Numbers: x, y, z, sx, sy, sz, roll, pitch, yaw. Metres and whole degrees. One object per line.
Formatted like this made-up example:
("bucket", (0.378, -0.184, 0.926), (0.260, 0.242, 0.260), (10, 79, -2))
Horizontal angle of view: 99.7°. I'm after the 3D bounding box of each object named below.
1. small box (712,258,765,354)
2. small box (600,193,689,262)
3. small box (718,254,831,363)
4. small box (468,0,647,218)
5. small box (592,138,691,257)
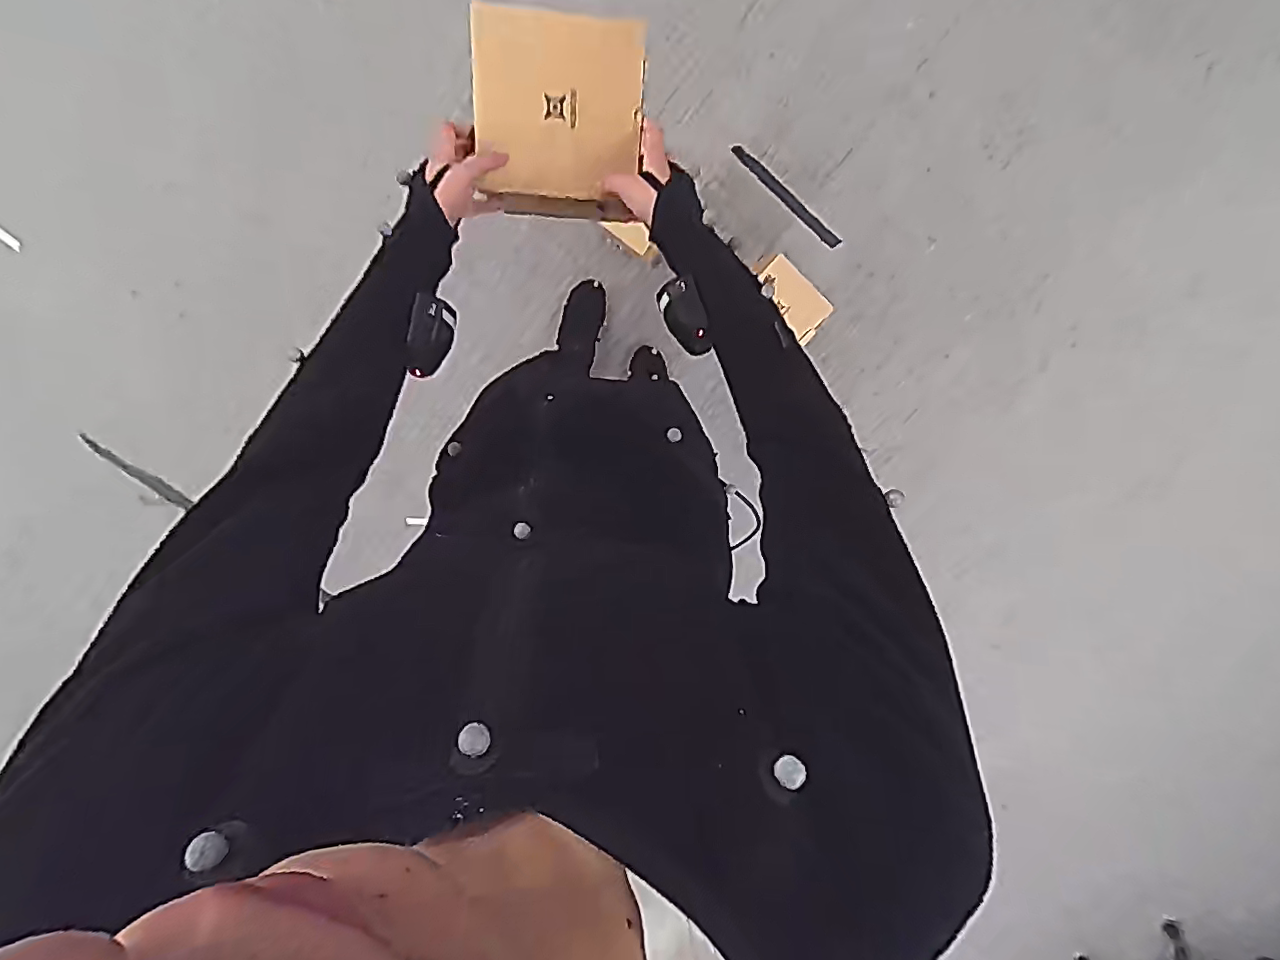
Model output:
("small box", (0.308, -0.454, 1.424), (0.179, 0.176, 0.168), (40, 105, -12))
("small box", (0.003, -0.673, 1.356), (0.168, 0.176, 0.179), (34, 105, -9))
("small box", (0.307, -0.403, 1.268), (0.179, 0.176, 0.168), (41, 103, -13))
("small box", (-0.090, -0.409, 0.626), (0.179, 0.176, 0.168), (1, 108, -7))
("small box", (-0.008, -0.623, 1.200), (0.168, 0.176, 0.179), (35, 106, -9))
